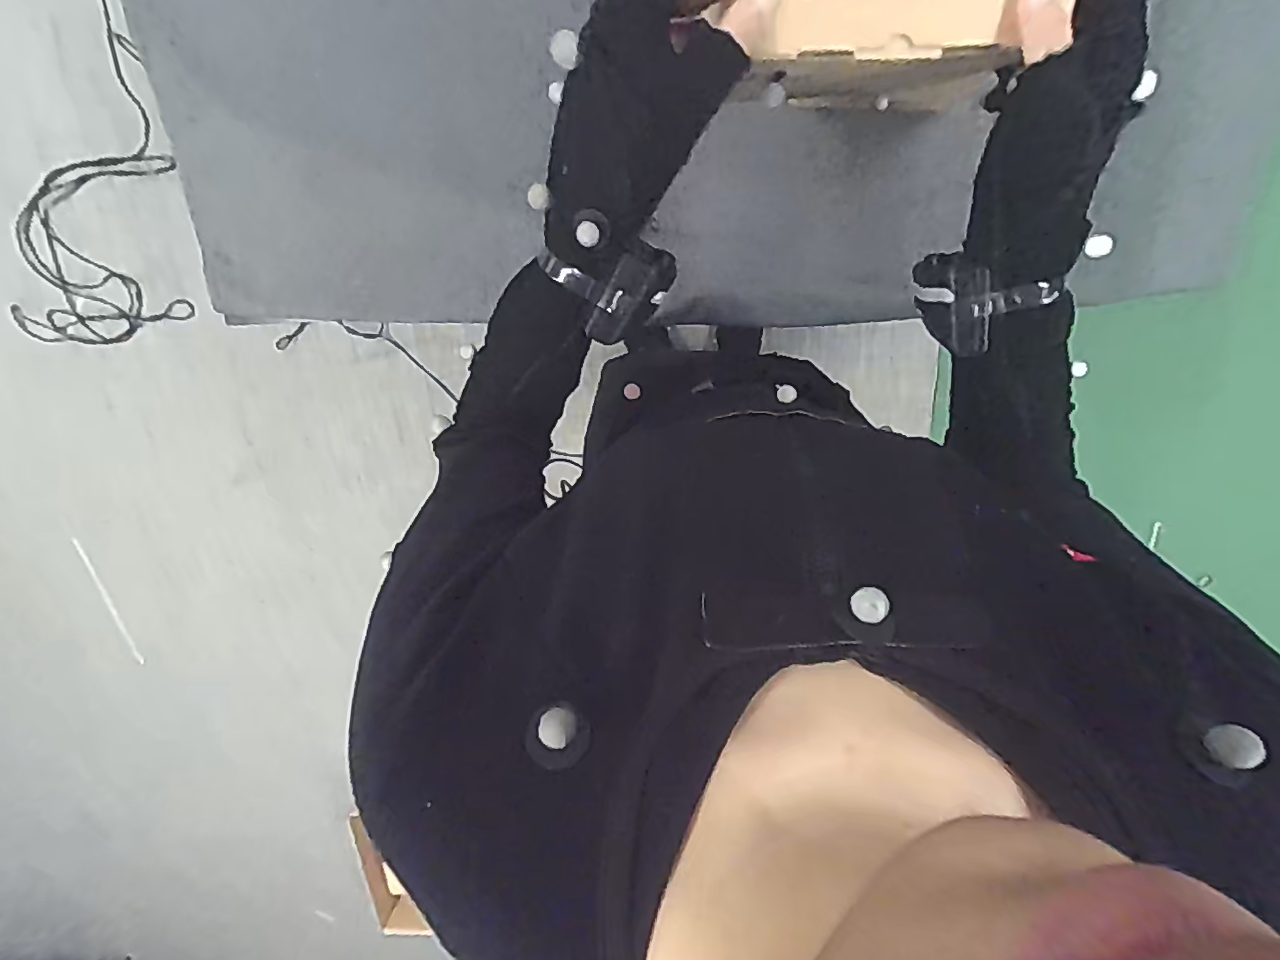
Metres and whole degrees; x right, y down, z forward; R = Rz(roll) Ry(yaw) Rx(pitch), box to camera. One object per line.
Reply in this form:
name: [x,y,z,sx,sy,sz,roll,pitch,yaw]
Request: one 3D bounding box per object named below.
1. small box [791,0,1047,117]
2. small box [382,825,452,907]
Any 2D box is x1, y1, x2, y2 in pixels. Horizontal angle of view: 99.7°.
small box: [0.243,-0.455,0.485,0.168,0.176,0.179,3,110,1]
small box: [-0.770,1.338,1.881,0.168,0.176,0.179,2,112,2]
